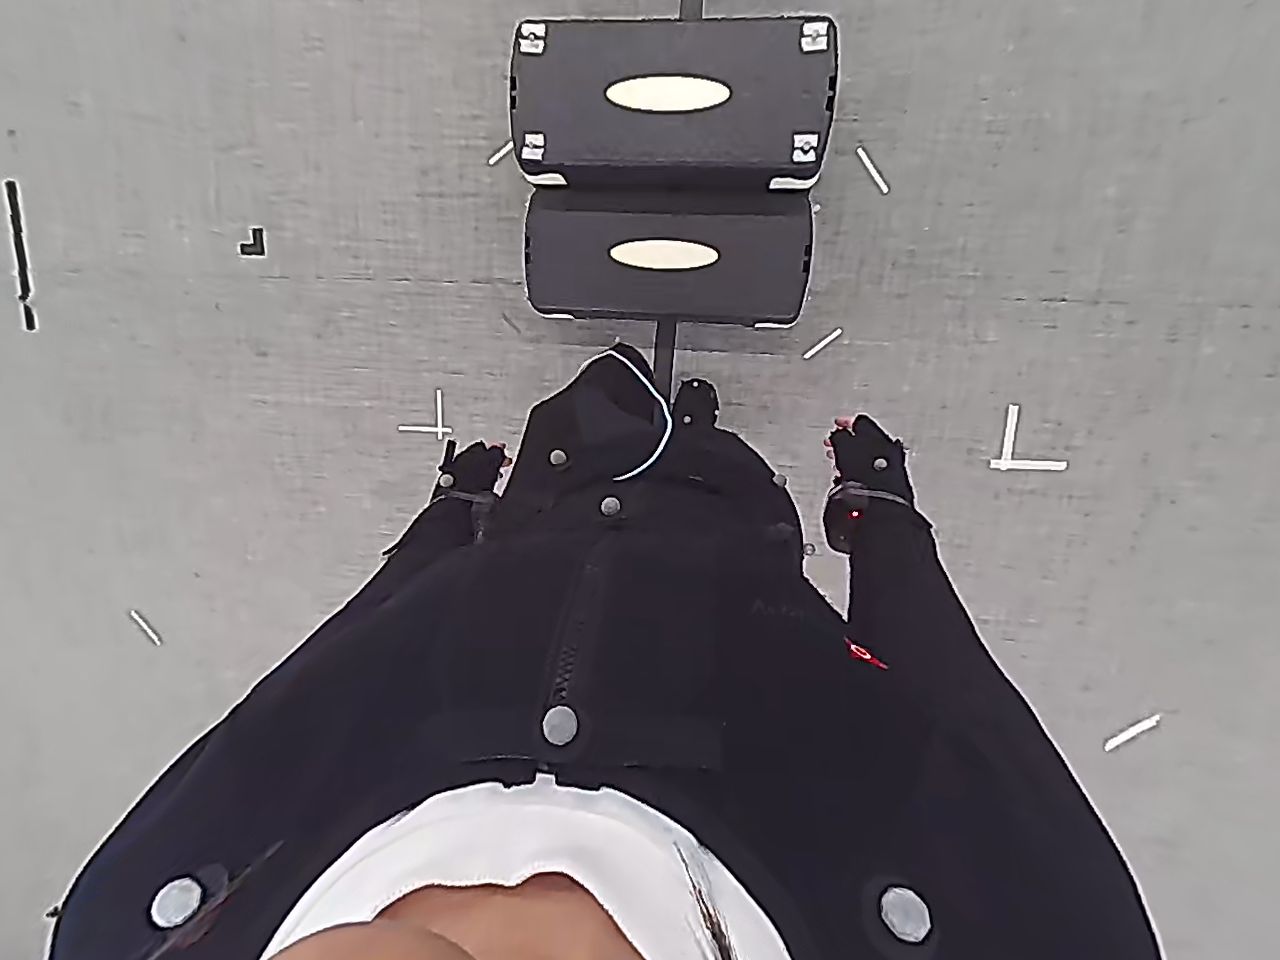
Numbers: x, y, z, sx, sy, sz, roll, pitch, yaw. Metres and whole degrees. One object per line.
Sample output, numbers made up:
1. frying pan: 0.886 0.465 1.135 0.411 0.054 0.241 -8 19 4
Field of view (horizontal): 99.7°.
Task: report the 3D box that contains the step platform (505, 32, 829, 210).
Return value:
1. step platform: 0.053 -0.775 1.189 0.684 0.204 0.286 3 103 5
